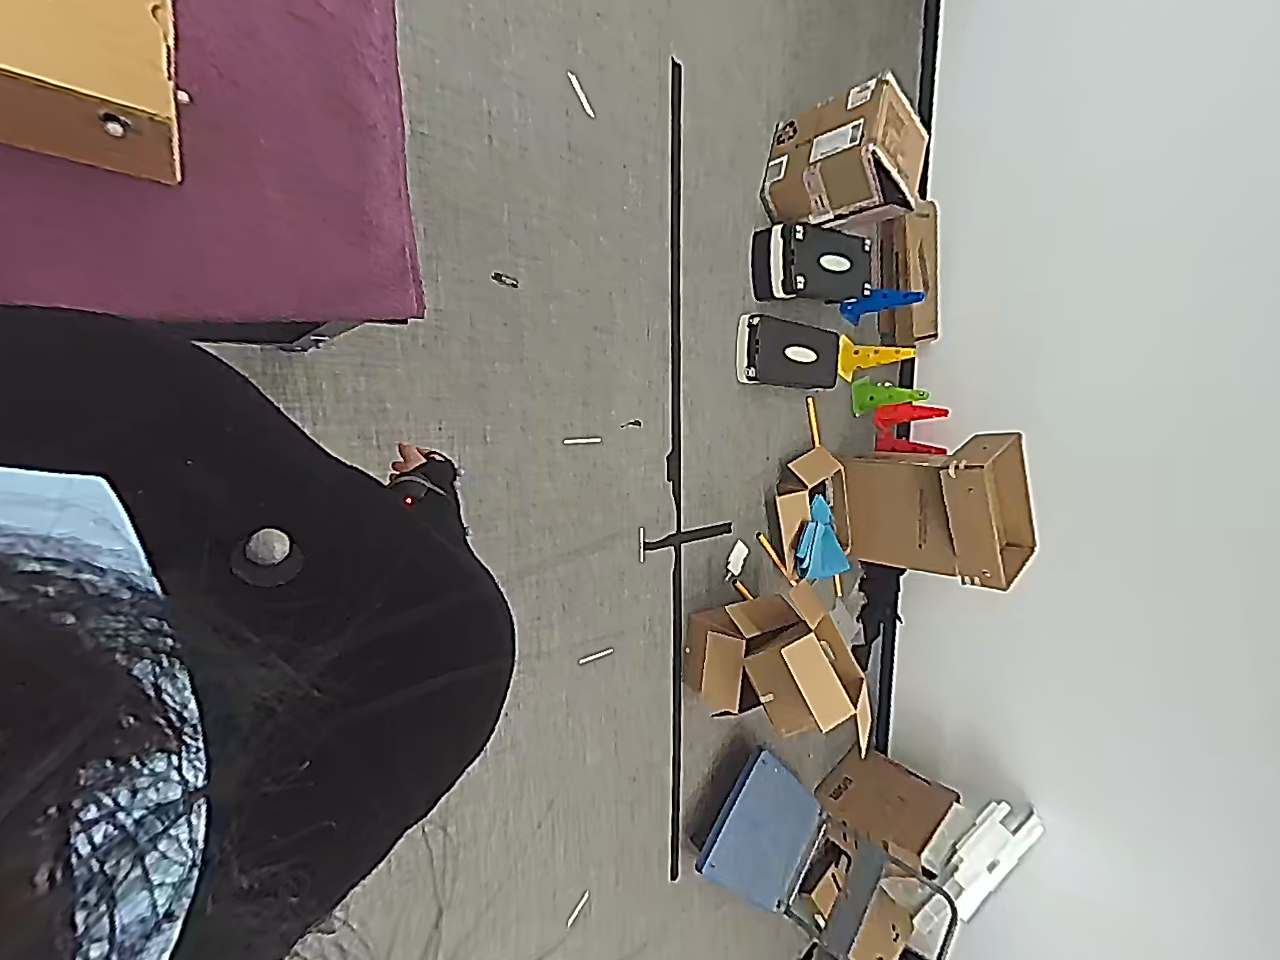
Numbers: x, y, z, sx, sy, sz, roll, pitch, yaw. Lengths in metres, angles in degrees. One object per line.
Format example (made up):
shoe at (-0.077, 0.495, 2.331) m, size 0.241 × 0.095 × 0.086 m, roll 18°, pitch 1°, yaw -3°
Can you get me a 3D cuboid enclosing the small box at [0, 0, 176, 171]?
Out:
small box at (-0.510, -0.392, 0.455) m, size 0.179 × 0.176 × 0.168 m, roll -3°, pitch 97°, yaw -41°
